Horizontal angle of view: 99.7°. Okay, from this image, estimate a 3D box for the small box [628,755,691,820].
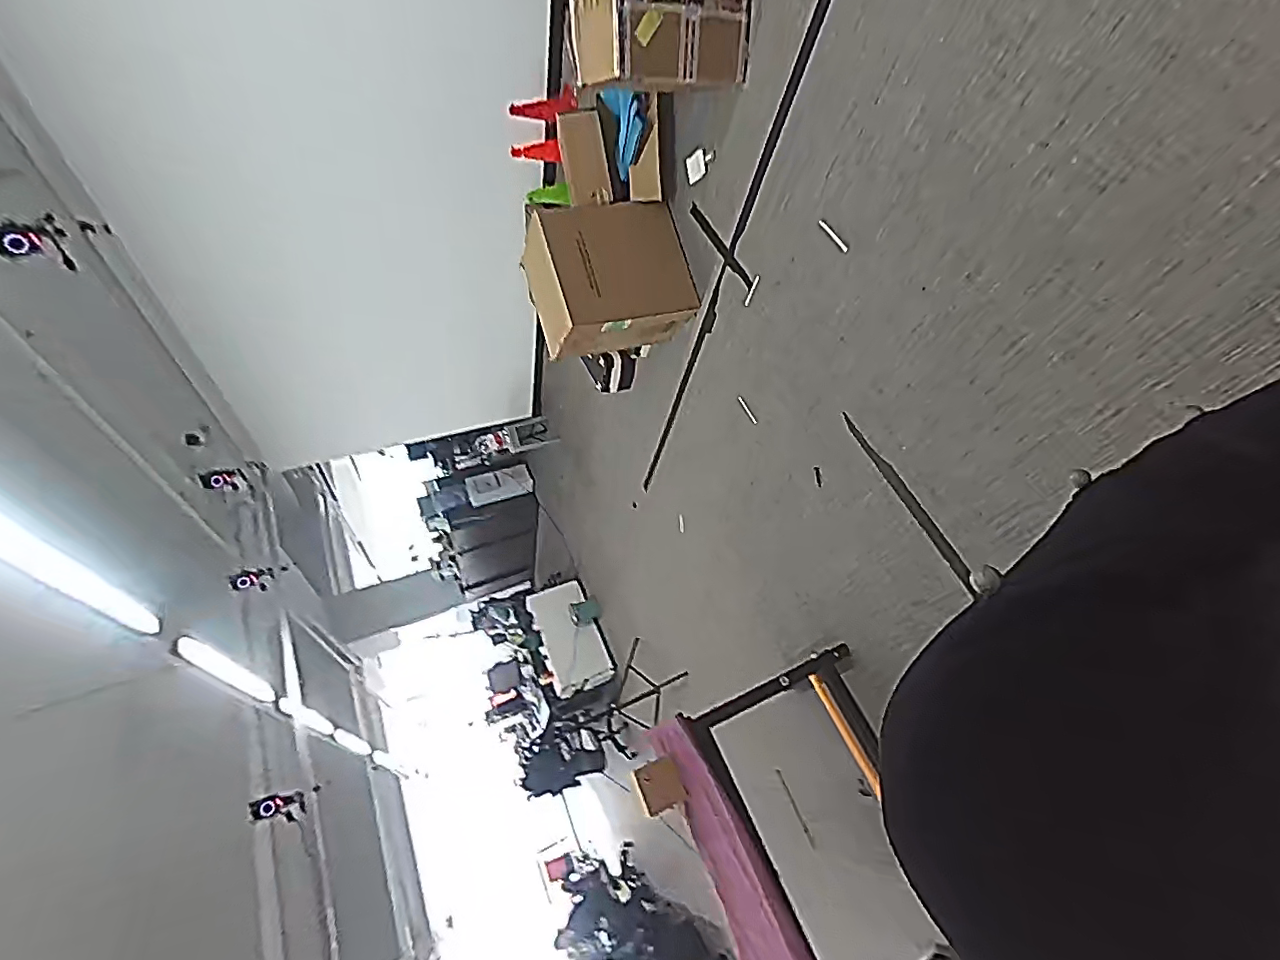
[{"bbox_3d":[0.076,1.211,2.138,0.179,0.176,0.168,63,155,26],"label":"small box"}]
